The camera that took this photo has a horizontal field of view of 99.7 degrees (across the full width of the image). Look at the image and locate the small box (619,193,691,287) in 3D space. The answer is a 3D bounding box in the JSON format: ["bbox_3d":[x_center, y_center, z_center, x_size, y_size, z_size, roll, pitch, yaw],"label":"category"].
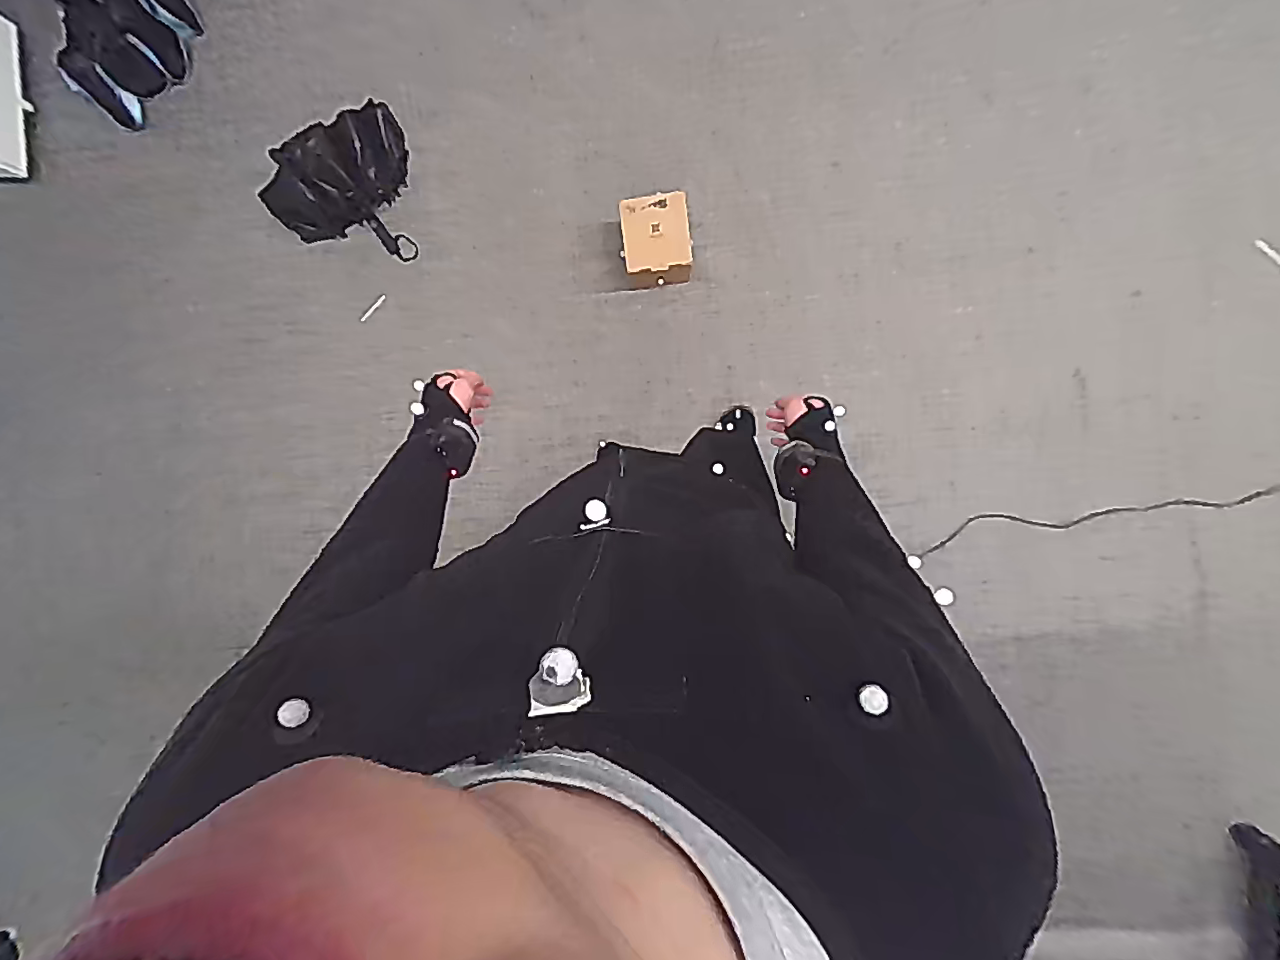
[{"bbox_3d":[0.040,-0.607,1.393,0.168,0.176,0.179,-6,96,3],"label":"small box"}]
